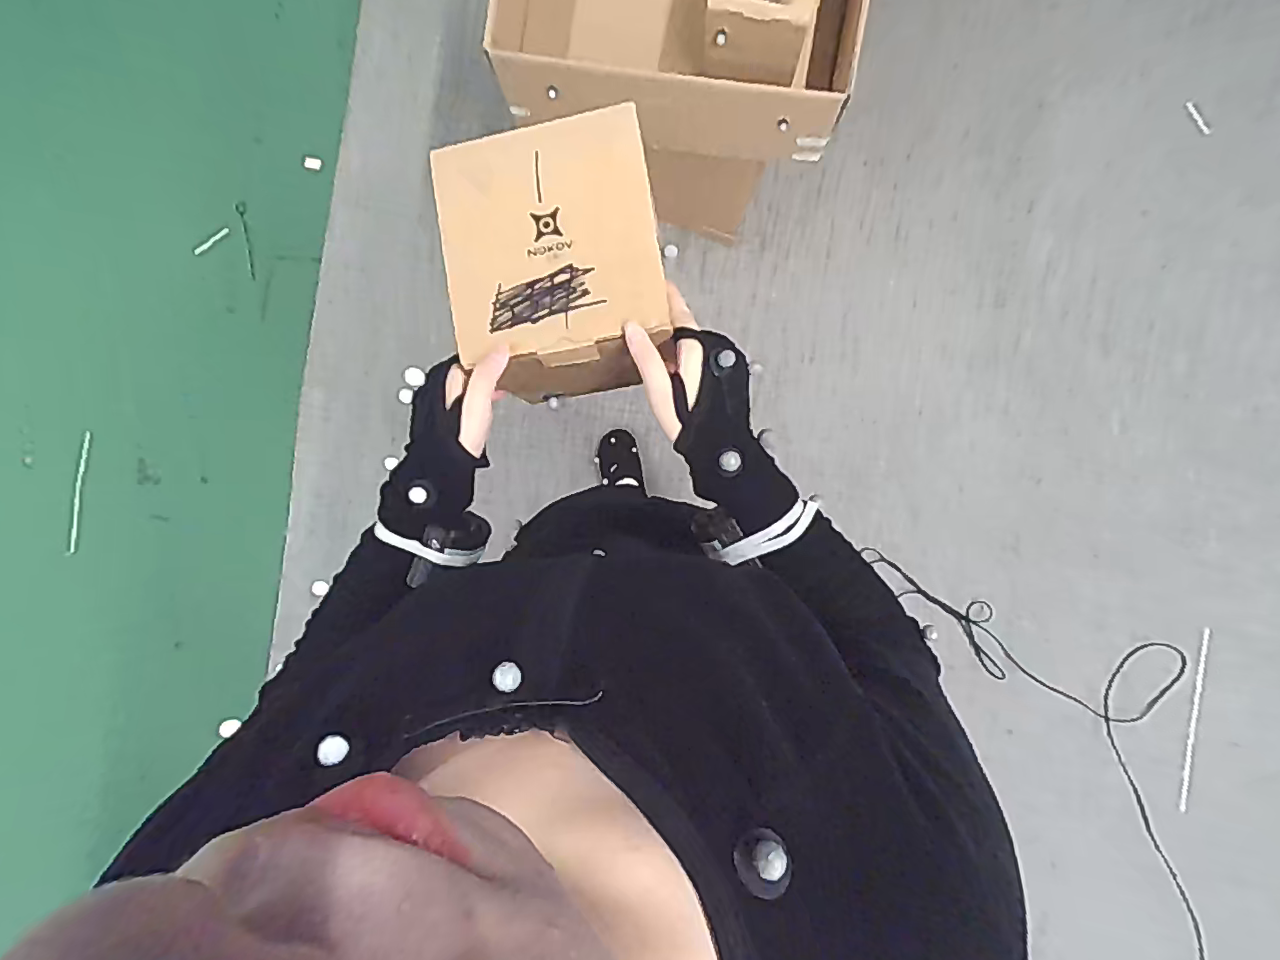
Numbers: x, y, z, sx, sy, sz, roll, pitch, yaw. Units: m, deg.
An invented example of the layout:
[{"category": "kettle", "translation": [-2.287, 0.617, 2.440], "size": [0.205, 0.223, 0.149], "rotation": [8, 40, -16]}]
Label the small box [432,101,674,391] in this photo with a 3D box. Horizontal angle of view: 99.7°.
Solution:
[{"category": "small box", "translation": [-0.064, -0.186, 0.491], "size": [0.168, 0.176, 0.179], "rotation": [-8, 85, 7]}]
